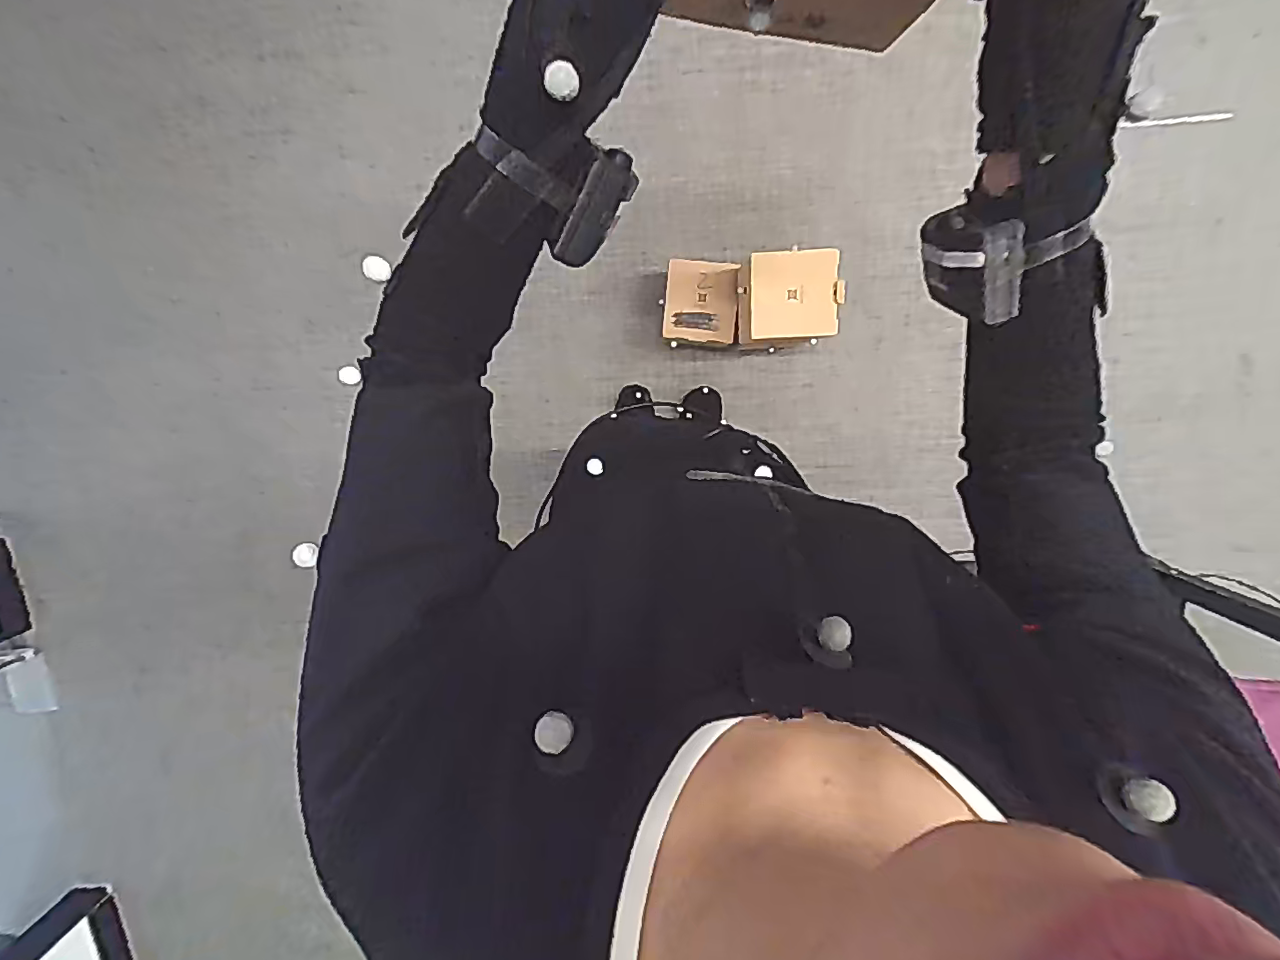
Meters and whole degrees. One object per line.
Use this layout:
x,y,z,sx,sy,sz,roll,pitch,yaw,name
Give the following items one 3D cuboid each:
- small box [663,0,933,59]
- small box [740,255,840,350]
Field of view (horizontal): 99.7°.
0.103,-0.366,0.276,0.168,0.176,0.179,5,105,-5,small box
0.310,-0.369,1.150,0.179,0.176,0.168,-3,100,1,small box
